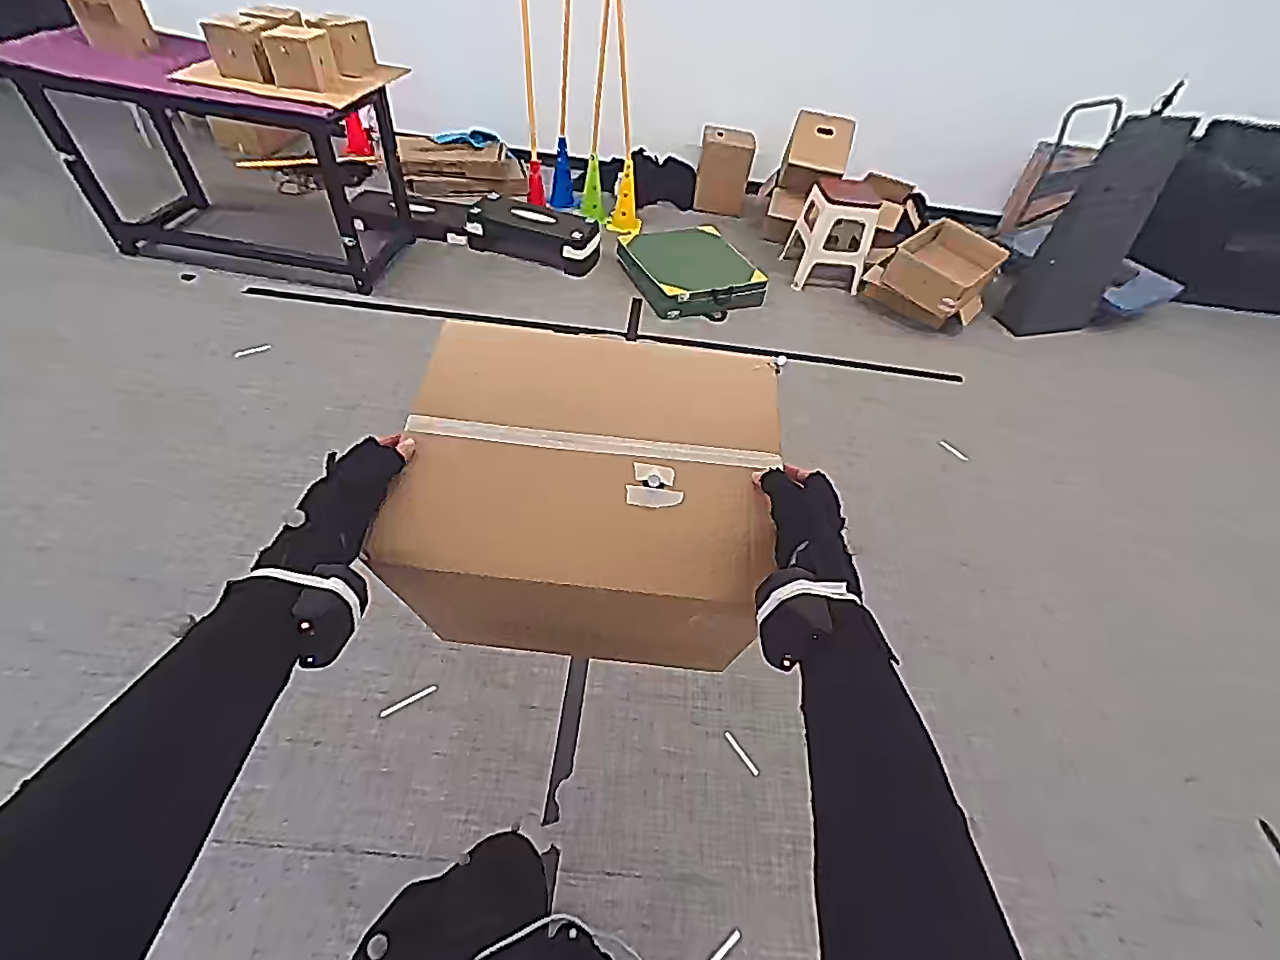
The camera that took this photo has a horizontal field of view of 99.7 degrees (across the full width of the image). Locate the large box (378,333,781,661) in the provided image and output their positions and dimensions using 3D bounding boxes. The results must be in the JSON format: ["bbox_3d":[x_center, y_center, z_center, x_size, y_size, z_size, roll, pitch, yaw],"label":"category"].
[{"bbox_3d":[-0.060,0.040,0.728,0.408,0.320,0.320,7,60,-1],"label":"large box"}]
